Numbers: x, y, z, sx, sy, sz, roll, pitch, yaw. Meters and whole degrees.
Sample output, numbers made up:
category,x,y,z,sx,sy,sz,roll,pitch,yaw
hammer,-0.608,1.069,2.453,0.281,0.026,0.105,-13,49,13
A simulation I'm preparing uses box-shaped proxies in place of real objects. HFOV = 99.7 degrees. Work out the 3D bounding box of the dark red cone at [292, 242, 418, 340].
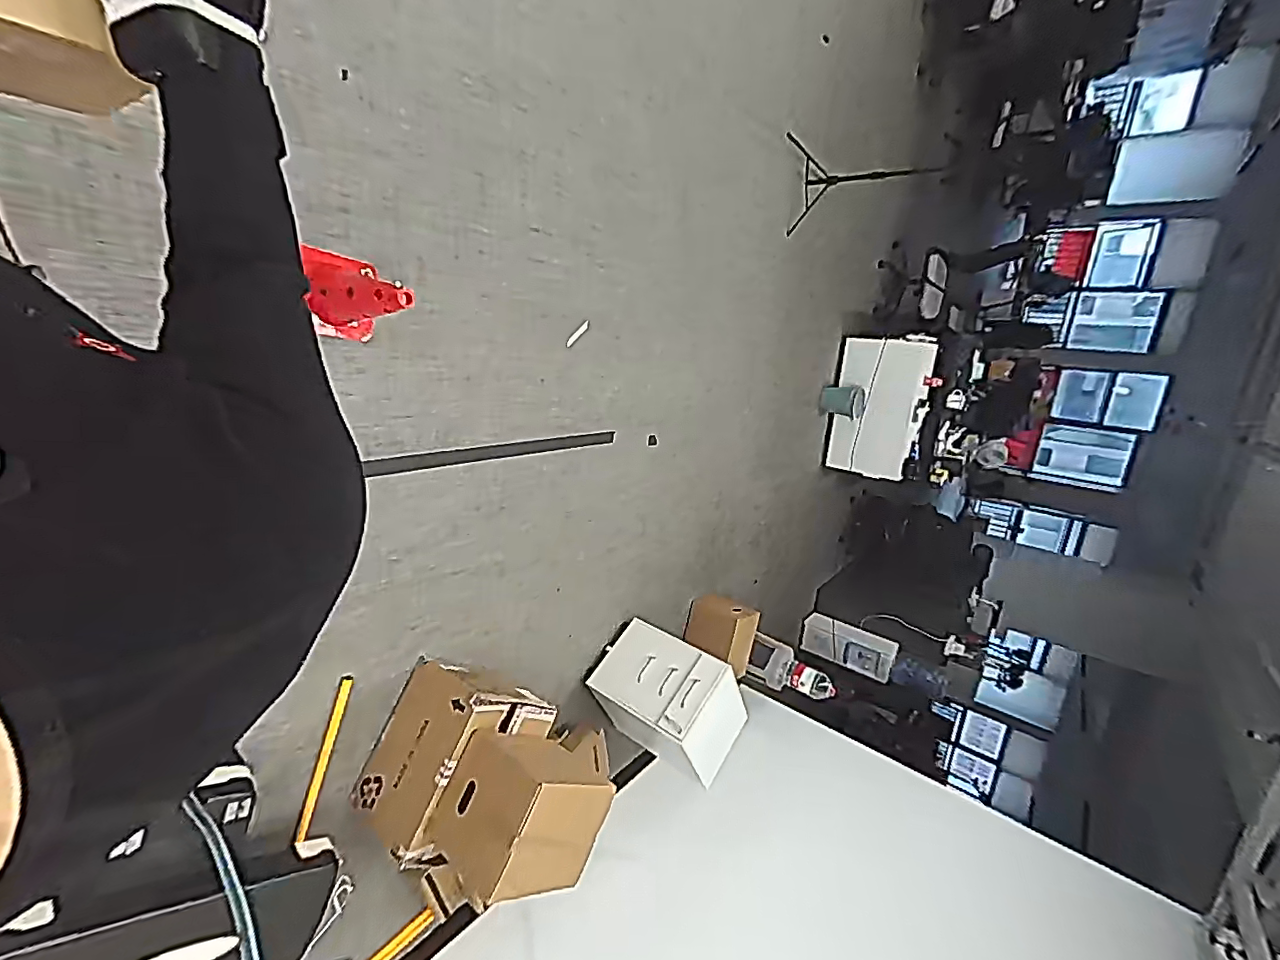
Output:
category,x,y,z,sx,sy,sz,roll,pitch,yaw
dark red cone,-0.620,-0.420,1.230,0.201,0.394,0.202,-3,105,-51

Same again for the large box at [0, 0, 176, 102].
category,x,y,z,sx,sy,sz,roll,pitch,yaw
large box,-0.555,-0.456,0.278,0.408,0.320,0.320,-14,118,-50
